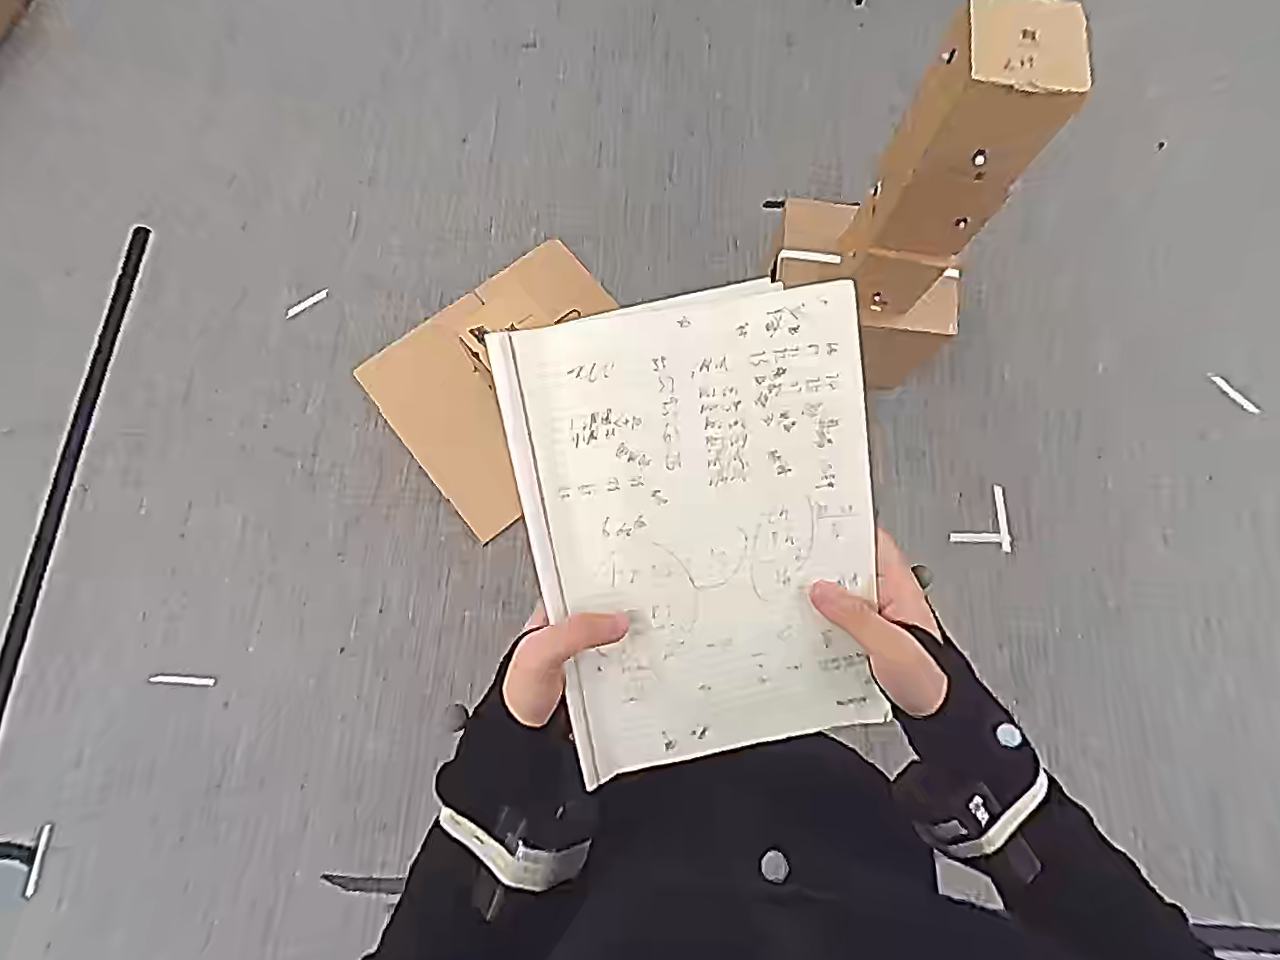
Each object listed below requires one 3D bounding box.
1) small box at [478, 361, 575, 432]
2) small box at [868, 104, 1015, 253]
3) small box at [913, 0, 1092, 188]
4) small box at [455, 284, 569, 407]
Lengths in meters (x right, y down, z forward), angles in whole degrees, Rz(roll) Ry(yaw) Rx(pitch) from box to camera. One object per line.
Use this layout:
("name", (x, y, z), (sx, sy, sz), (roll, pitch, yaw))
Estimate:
("small box", (-0.281, -0.253, 1.380), (0.179, 0.176, 0.168), (-41, 81, -12))
("small box", (0.539, -0.539, 0.986), (0.179, 0.176, 0.168), (6, 75, 2))
("small box", (0.541, -0.592, 0.830), (0.168, 0.176, 0.179), (8, 76, 1))
("small box", (-0.277, -0.293, 1.219), (0.179, 0.176, 0.168), (-40, 81, -11))
